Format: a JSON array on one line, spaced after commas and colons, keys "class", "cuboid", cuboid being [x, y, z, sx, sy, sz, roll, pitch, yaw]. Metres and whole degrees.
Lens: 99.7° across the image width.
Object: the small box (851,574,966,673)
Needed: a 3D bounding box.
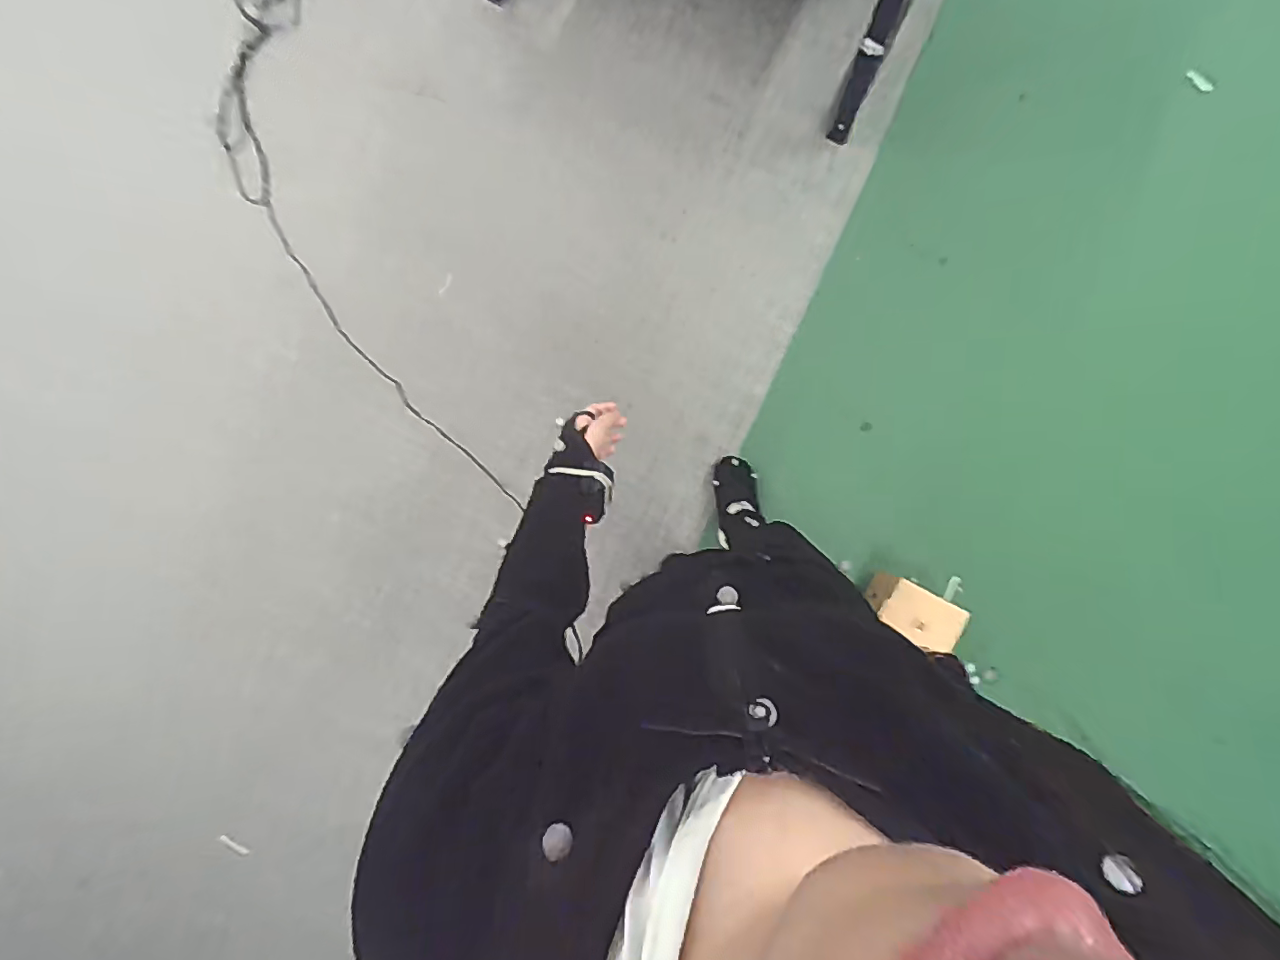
[{"class": "small box", "cuboid": [0.667, 0.352, 1.365, 0.179, 0.176, 0.168, 27, 90, 6]}]
